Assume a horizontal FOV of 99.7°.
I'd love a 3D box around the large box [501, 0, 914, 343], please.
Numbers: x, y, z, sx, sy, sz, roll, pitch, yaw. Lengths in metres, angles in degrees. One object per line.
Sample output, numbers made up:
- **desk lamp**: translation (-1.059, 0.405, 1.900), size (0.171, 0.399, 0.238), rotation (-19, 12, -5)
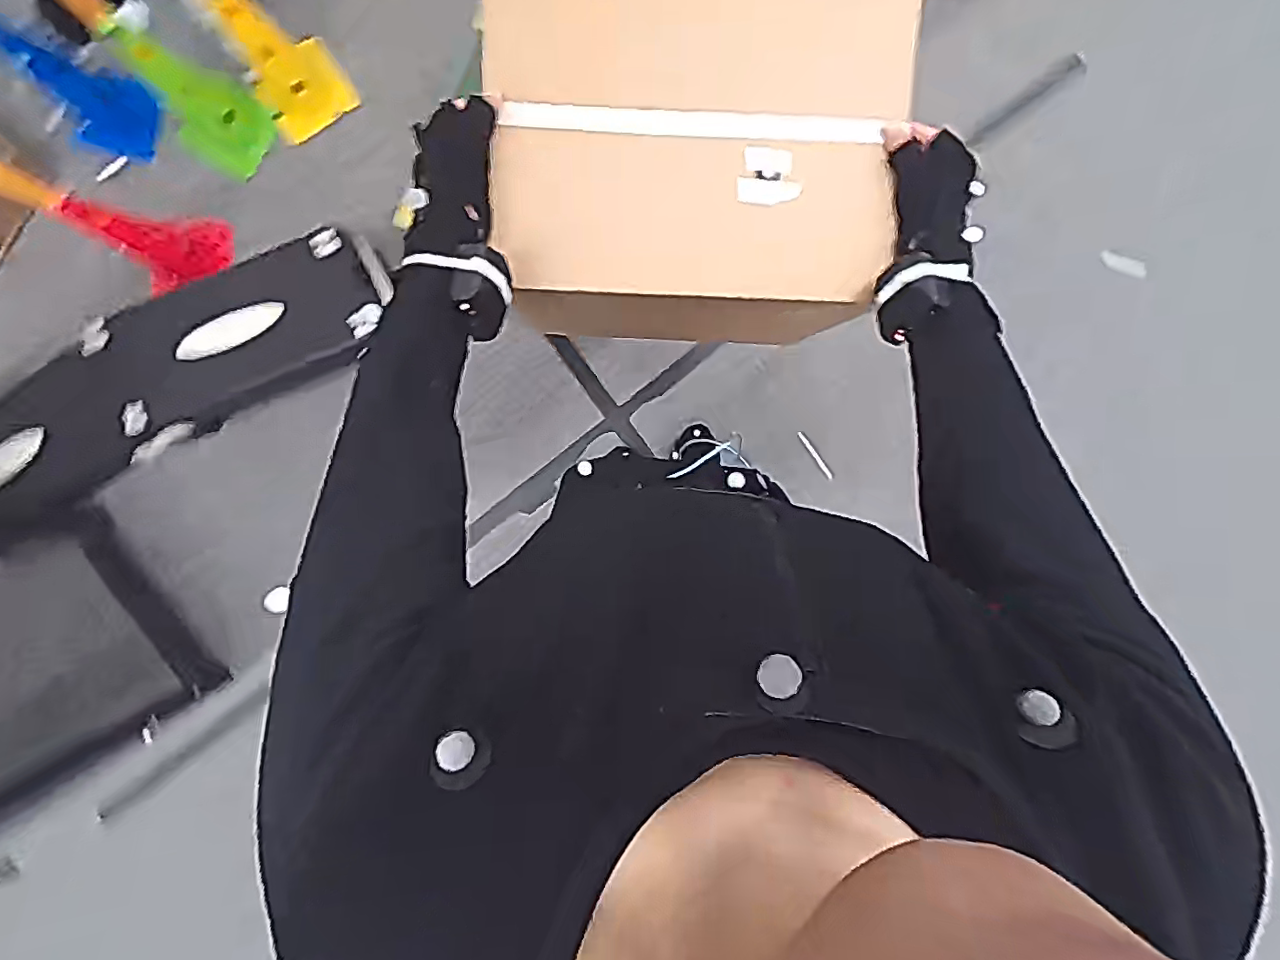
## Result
- **large box**: translation (0.055, -0.354, 0.677), size (0.408, 0.320, 0.320), rotation (2, 97, -3)
